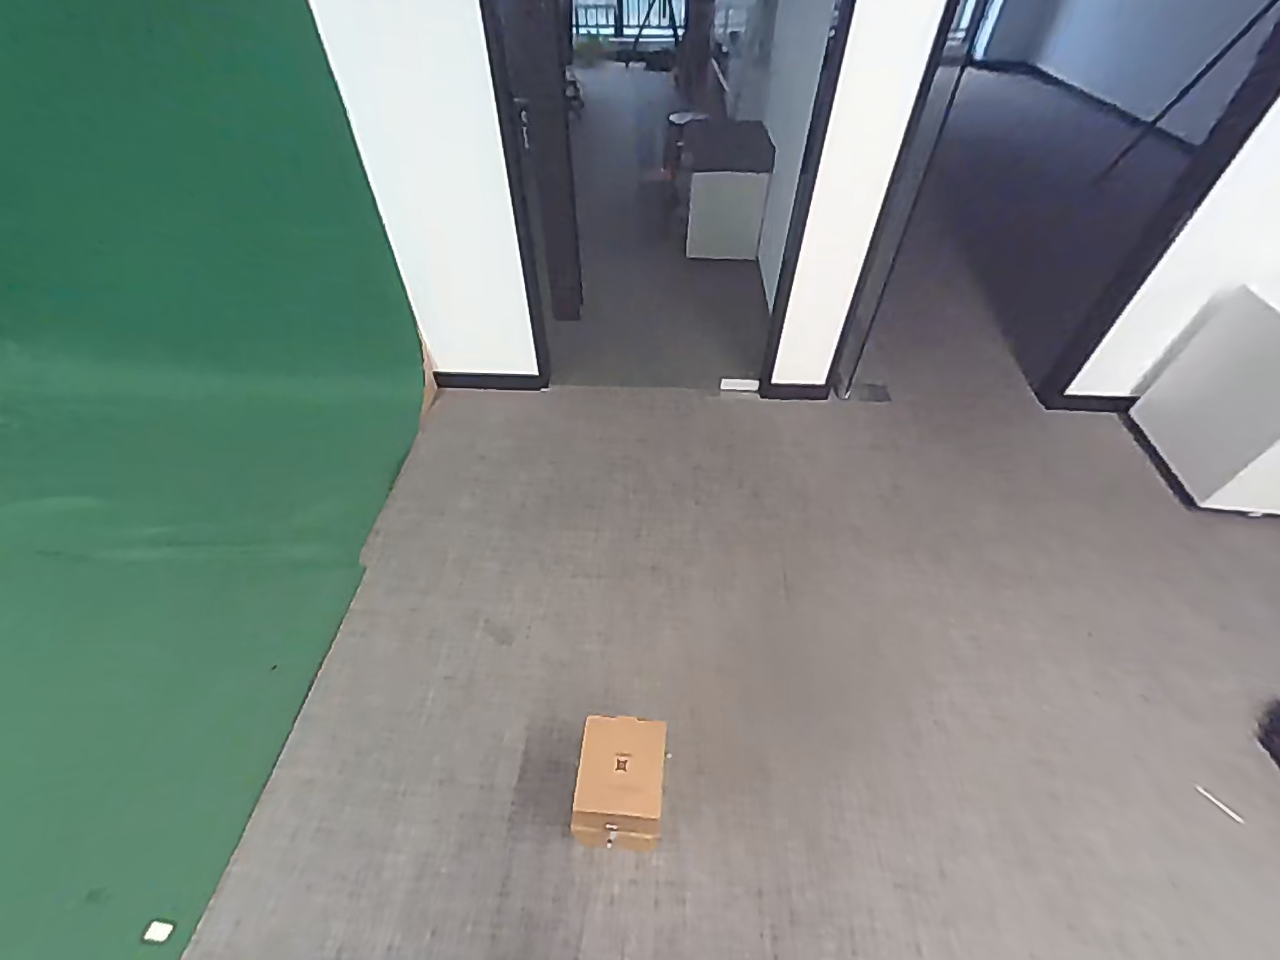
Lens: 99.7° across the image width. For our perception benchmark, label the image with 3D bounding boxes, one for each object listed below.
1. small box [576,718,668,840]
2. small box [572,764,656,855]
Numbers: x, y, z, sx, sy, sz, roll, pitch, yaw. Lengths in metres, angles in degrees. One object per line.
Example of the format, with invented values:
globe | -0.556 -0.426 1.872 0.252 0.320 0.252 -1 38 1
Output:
small box | -0.031 0.613 1.110 0.168 0.176 0.179 2 47 4
small box | -0.047 0.730 1.221 0.179 0.176 0.168 3 46 4
